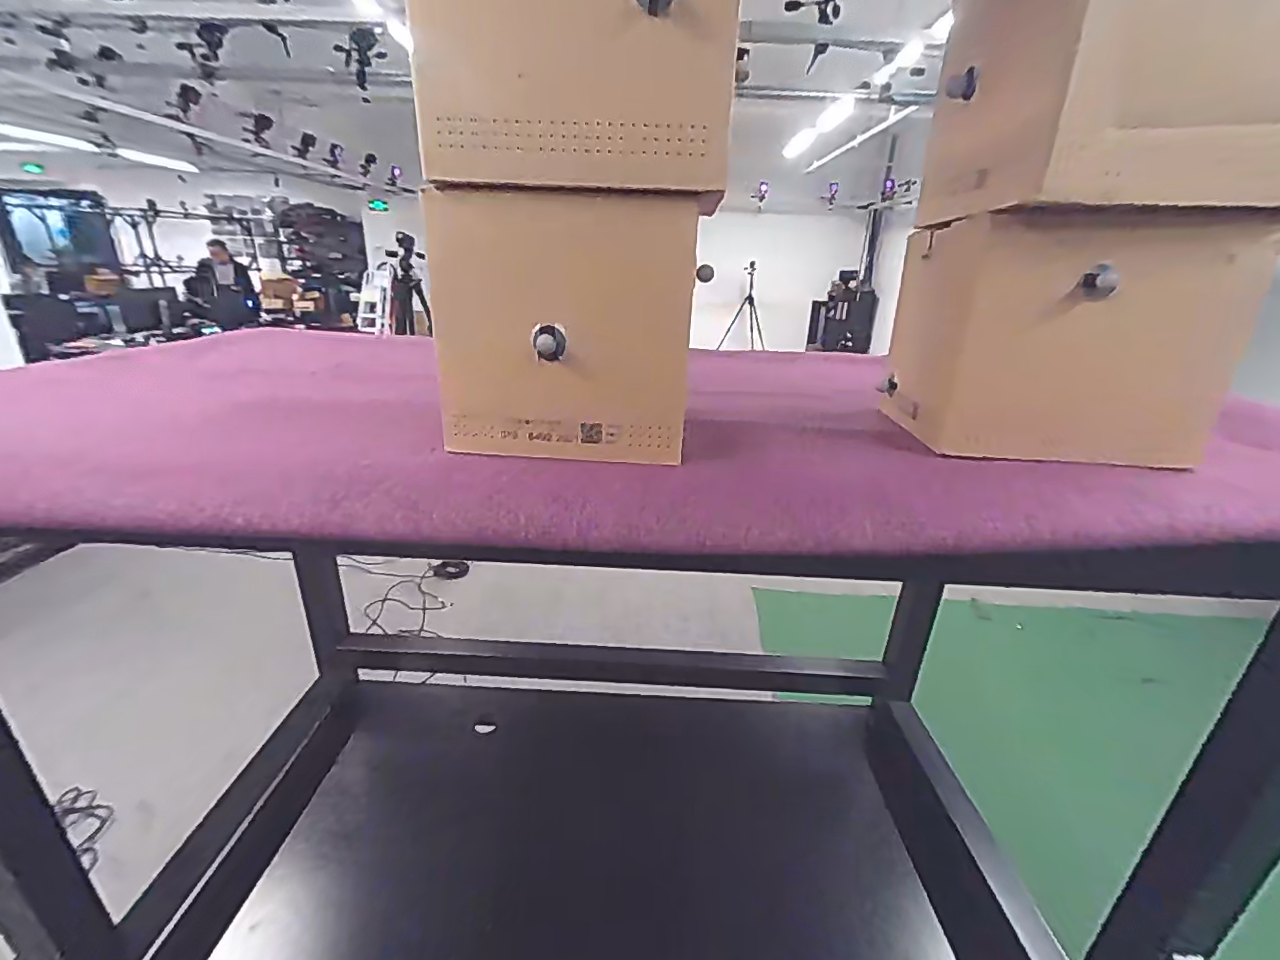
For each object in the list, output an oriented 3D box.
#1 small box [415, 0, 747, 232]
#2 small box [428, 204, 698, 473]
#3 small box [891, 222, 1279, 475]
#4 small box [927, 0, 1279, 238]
[{"bbox_3d":[-0.026,-0.258,0.352,0.179,0.176,0.168,3,21,3],"label":"small box"},{"bbox_3d":[-0.042,-0.112,0.423,0.168,0.176,0.179,4,21,3],"label":"small box"},{"bbox_3d":[0.321,-0.108,0.441,0.179,0.176,0.168,4,20,7],"label":"small box"},{"bbox_3d":[0.321,-0.256,0.372,0.179,0.176,0.168,3,20,3],"label":"small box"}]
